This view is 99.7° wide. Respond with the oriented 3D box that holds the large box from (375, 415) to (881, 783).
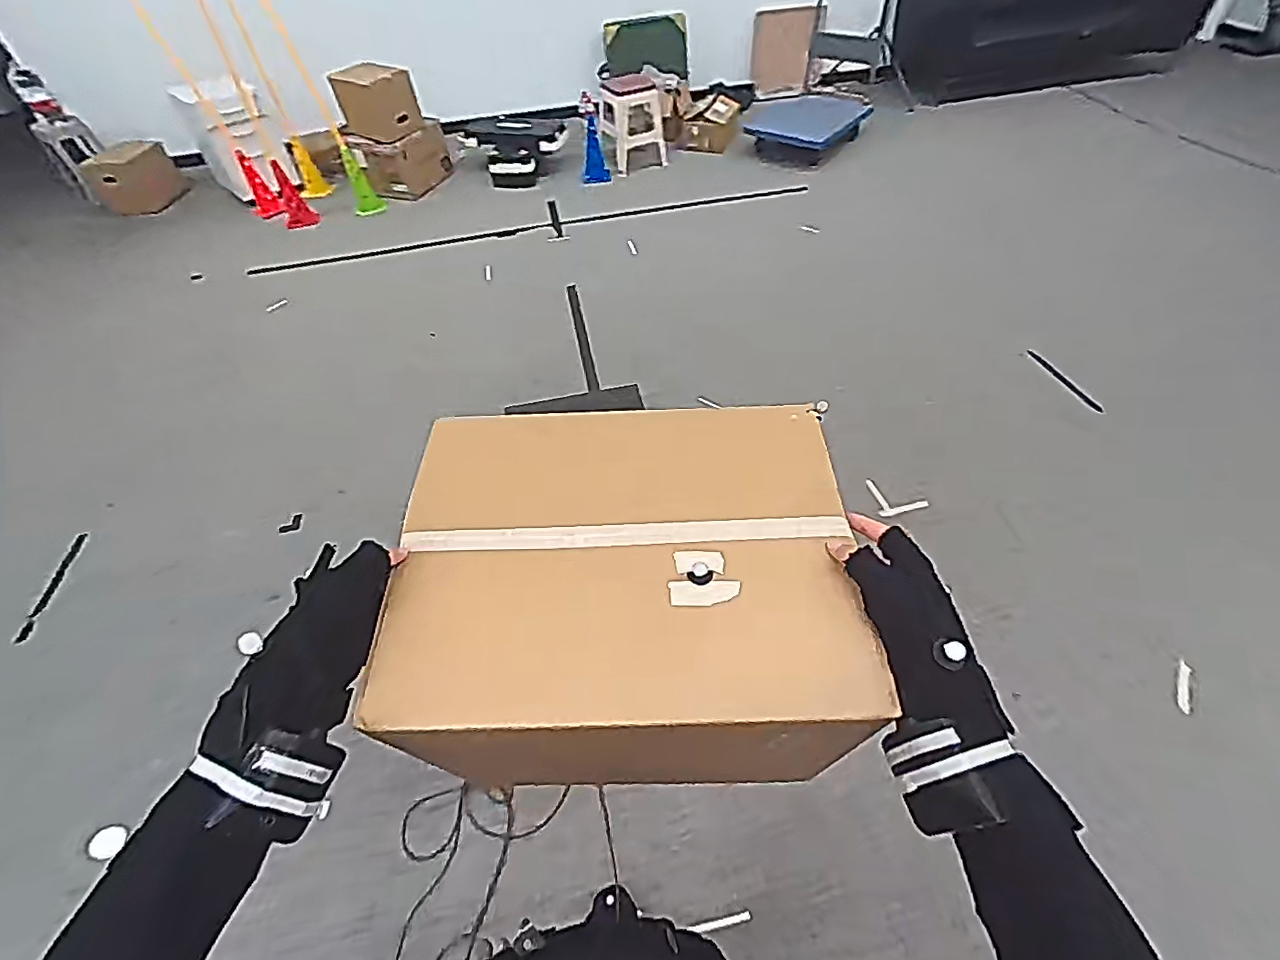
[{"bbox_3d":[-0.011,0.147,0.624,0.408,0.320,0.320,-2,54,1],"label":"large box"}]
